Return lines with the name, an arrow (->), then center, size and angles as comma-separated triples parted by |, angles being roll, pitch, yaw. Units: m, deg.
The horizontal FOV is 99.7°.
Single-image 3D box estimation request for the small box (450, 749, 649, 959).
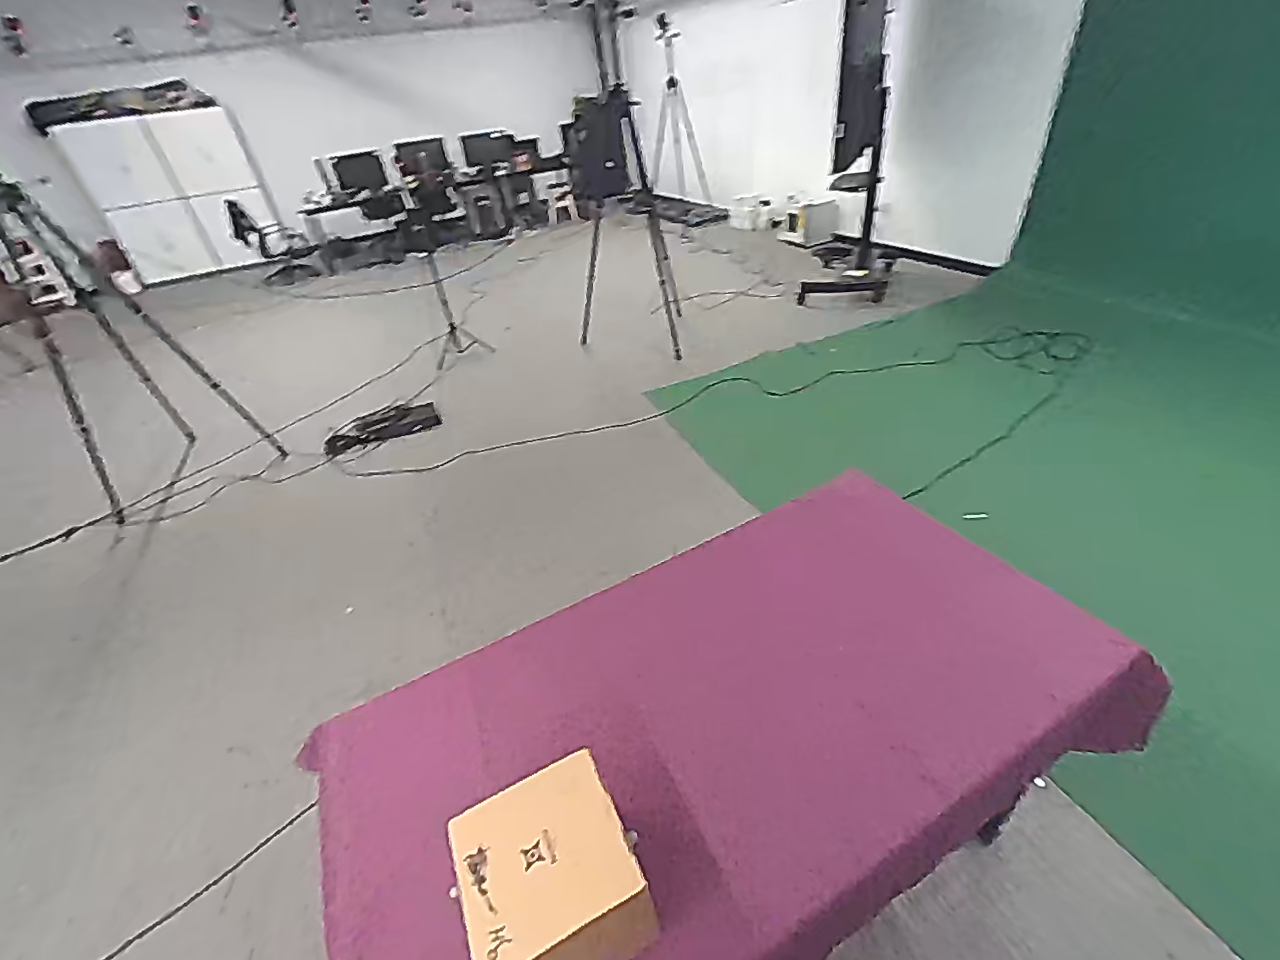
small box -> -0.098, 0.462, 0.626 | 0.179, 0.176, 0.168 | -21, 37, -17
